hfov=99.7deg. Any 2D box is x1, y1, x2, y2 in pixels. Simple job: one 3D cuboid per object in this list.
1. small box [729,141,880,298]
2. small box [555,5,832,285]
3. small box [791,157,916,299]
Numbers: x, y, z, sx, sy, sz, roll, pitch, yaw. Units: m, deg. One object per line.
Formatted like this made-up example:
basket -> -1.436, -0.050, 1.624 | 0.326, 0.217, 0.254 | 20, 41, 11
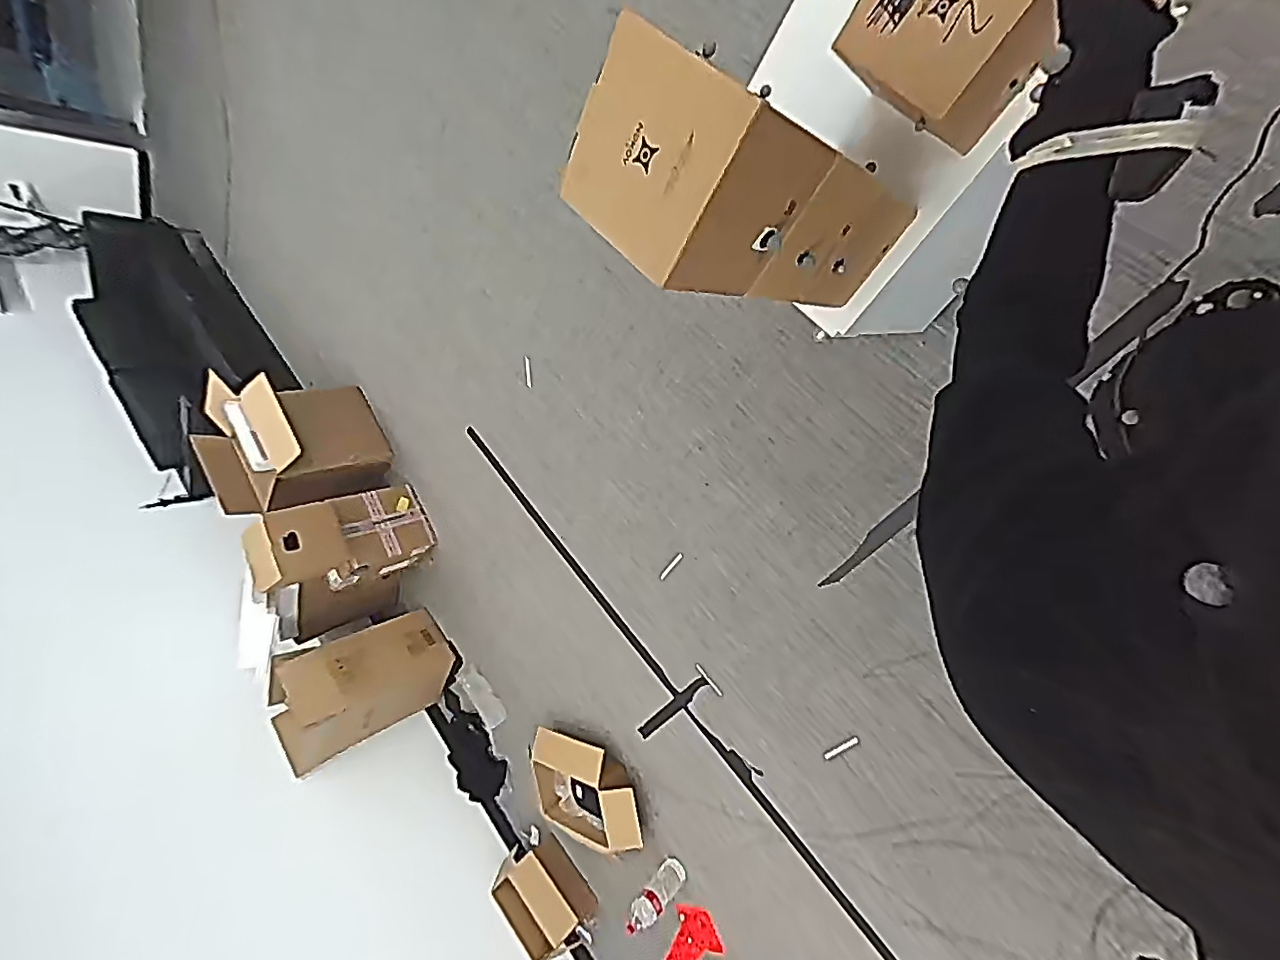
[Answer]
small box -> 0.156, -0.343, 0.660 | 0.179, 0.176, 0.168 | 48, 128, 20
small box -> 0.052, -0.310, 0.539 | 0.179, 0.176, 0.168 | 48, 129, 19
small box -> 0.257, -0.378, 0.782 | 0.179, 0.176, 0.168 | 50, 129, 19
